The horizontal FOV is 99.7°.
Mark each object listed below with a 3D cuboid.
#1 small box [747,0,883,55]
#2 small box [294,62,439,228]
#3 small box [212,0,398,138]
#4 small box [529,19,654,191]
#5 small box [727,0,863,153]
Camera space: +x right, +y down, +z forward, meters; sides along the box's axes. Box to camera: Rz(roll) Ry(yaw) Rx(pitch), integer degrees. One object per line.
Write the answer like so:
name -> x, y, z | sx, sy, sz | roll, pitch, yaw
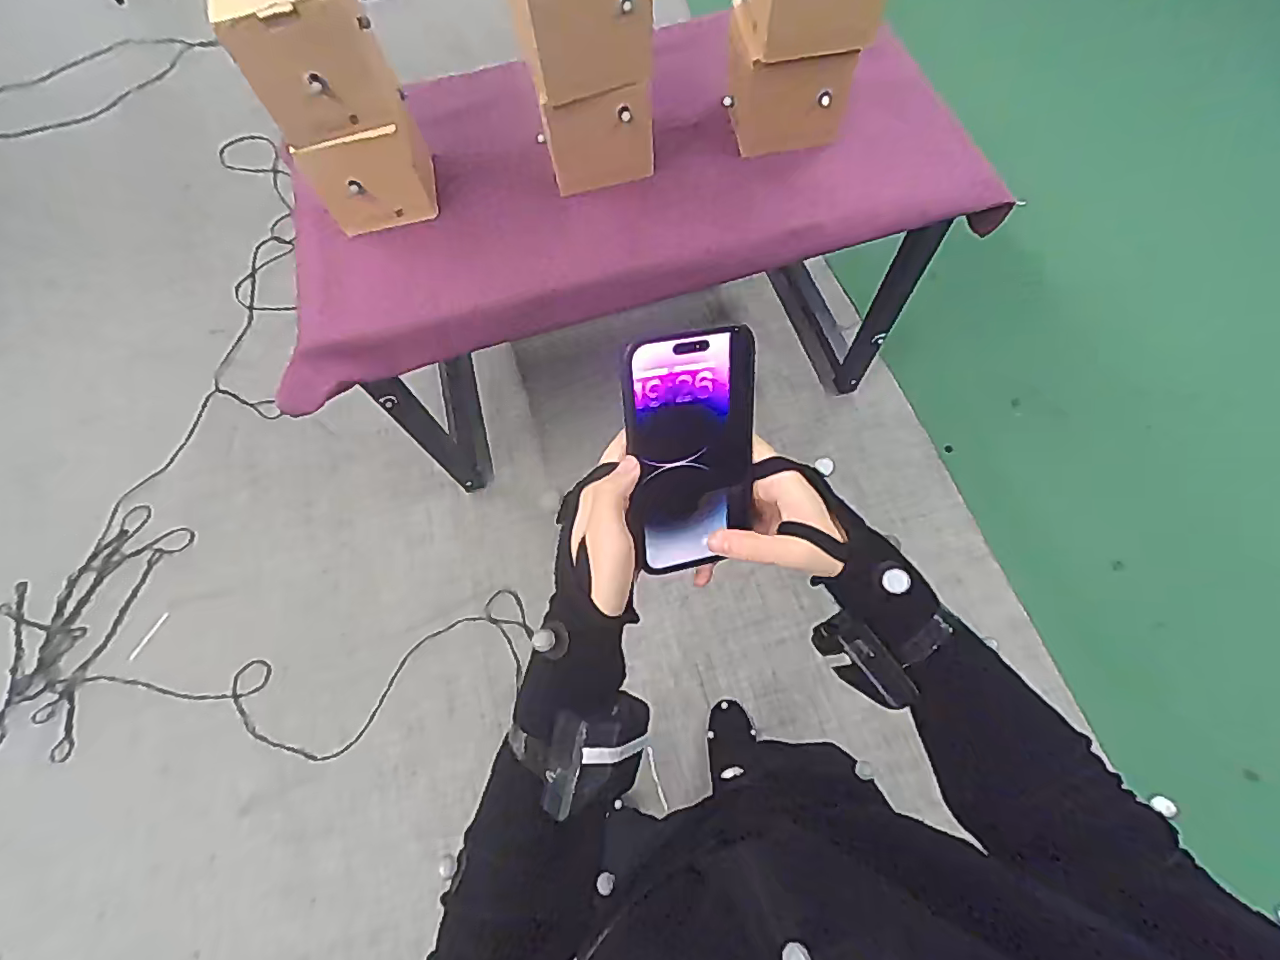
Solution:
small box -> 0.258, -0.757, 0.783 | 0.179, 0.176, 0.168 | -8, 68, 0
small box -> -0.460, -0.563, 0.931 | 0.168, 0.176, 0.179 | -13, 68, -1
small box -> -0.473, -0.631, 0.782 | 0.168, 0.176, 0.179 | -18, 69, -4
small box -> -0.077, -0.638, 0.934 | 0.179, 0.176, 0.168 | -14, 68, -2
small box -> 0.256, -0.707, 0.940 | 0.179, 0.176, 0.168 | -8, 67, 1
